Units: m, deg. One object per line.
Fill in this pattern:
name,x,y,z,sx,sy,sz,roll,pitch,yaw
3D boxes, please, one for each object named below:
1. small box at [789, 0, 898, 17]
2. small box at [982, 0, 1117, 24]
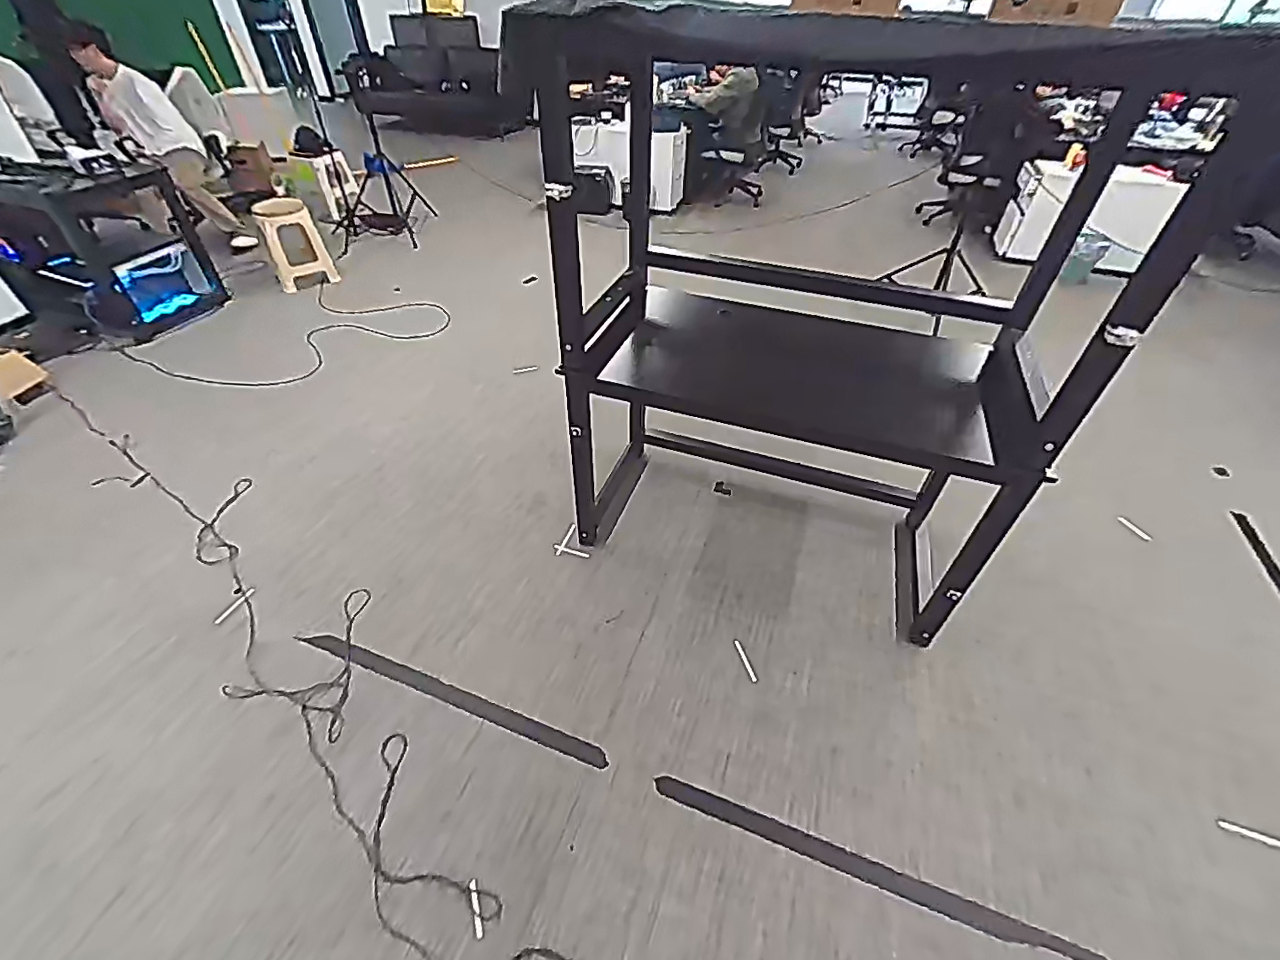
small box,0.345,-0.856,0.863,0.168,0.176,0.179,15,42,15
small box,0.628,-0.785,0.796,0.168,0.176,0.179,17,43,17
